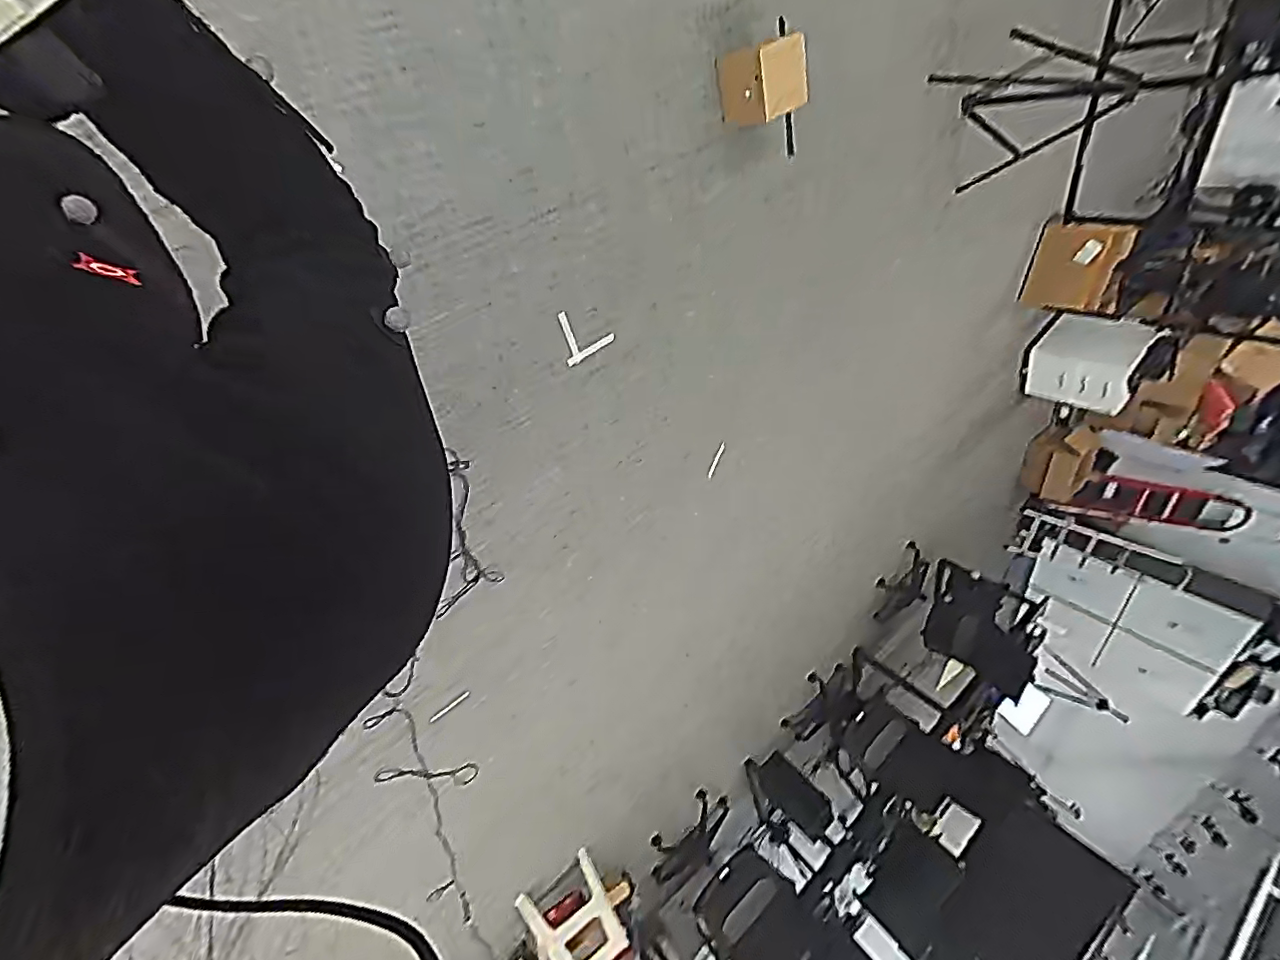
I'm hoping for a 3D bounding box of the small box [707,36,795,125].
[{"bbox_3d":[0.320,-1.132,1.536,0.179,0.176,0.168,-37,132,-21],"label":"small box"}]
